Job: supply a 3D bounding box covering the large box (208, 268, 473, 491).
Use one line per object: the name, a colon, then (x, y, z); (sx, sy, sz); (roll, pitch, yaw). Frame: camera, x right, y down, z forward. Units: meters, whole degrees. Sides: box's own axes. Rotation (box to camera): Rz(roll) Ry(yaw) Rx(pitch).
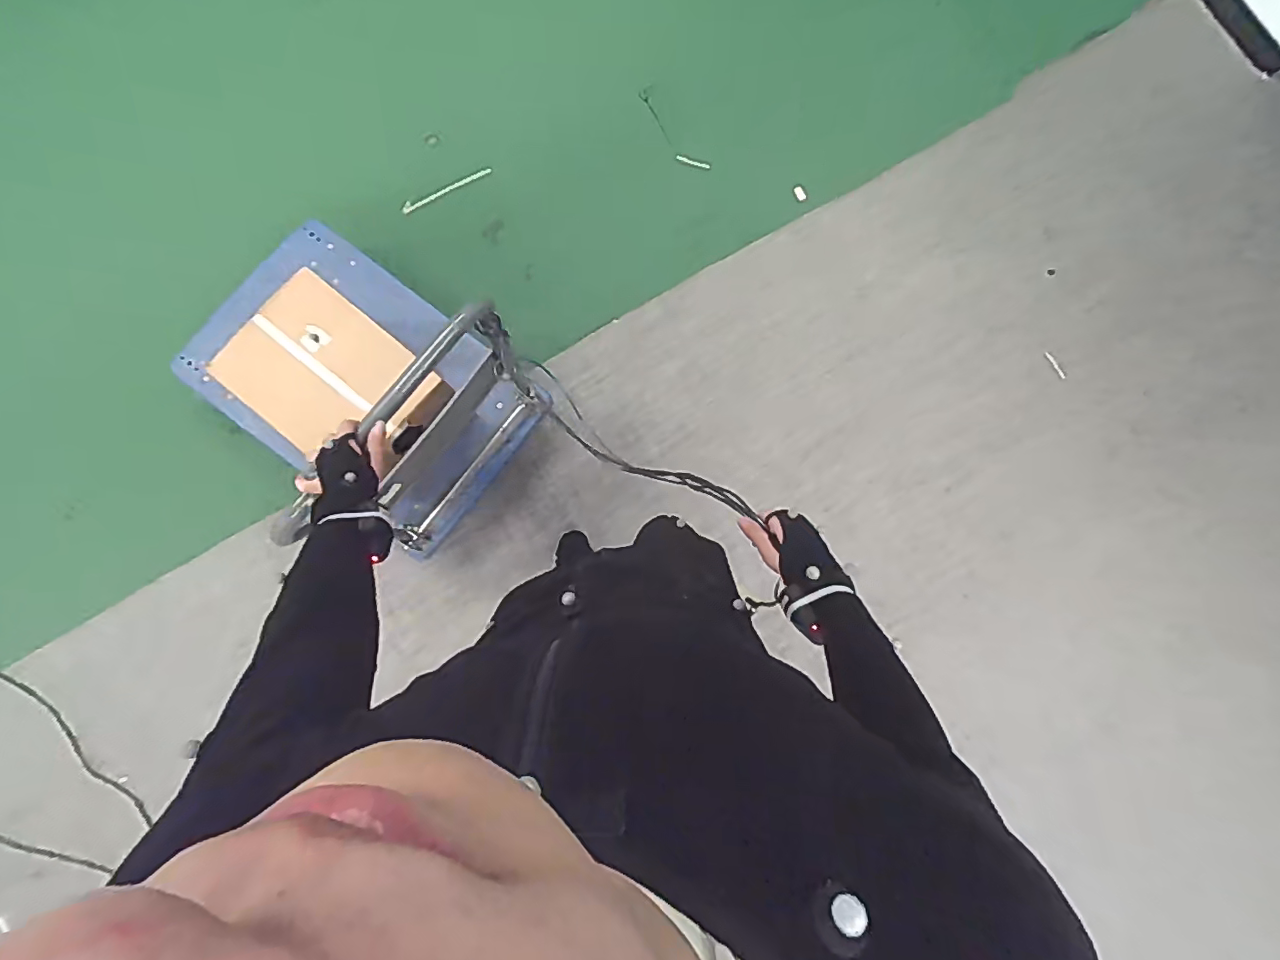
large box: (-0.692, -0.219, 1.325); (0.408, 0.320, 0.320); (39, 82, 2)
